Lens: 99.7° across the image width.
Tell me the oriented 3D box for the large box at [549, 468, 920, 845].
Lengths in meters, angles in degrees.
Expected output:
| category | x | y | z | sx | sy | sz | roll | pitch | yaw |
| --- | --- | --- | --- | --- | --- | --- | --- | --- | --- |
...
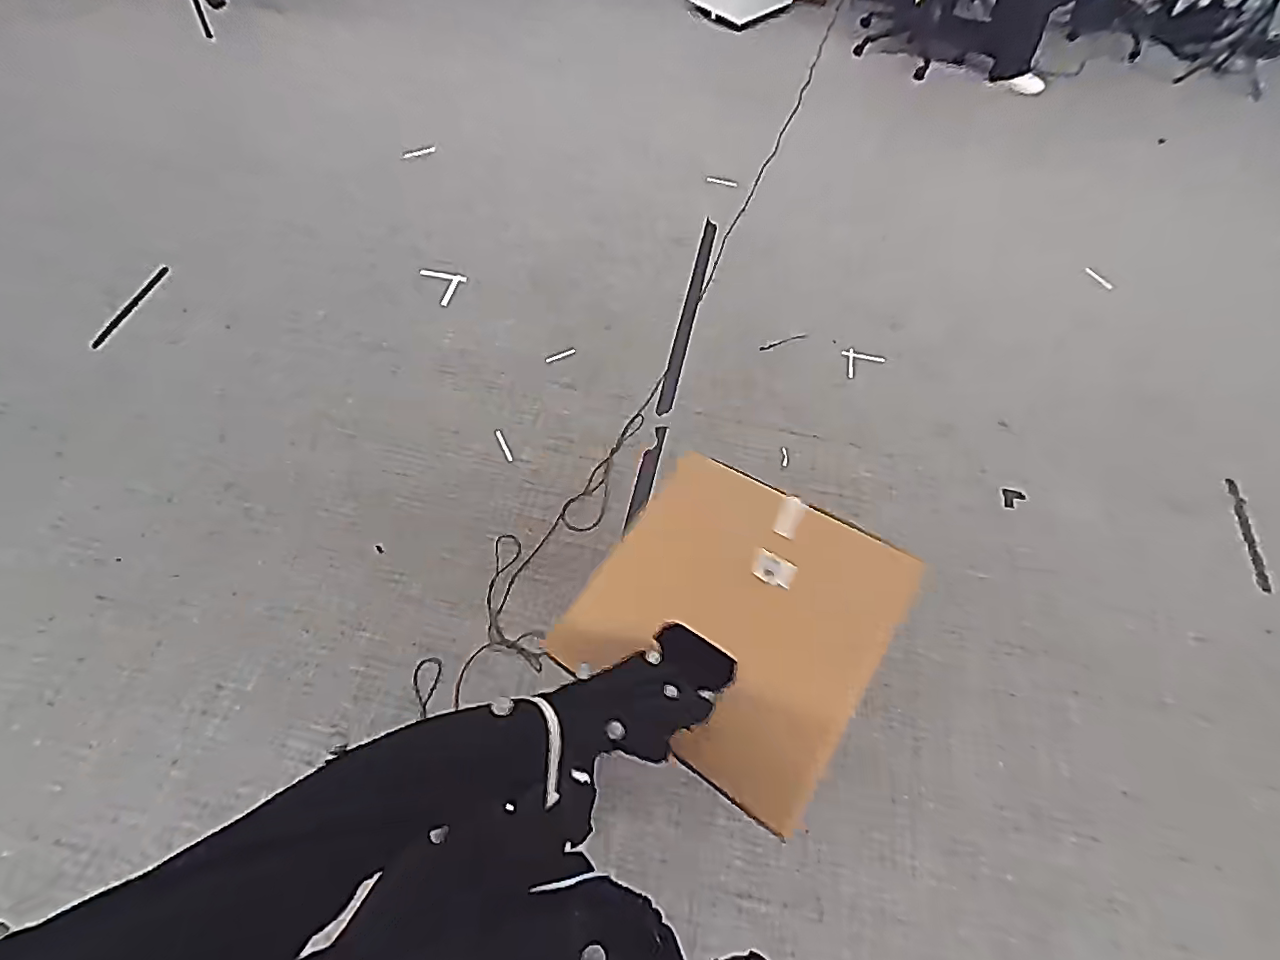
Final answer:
| category | x | y | z | sx | sy | sz | roll | pitch | yaw |
| --- | --- | --- | --- | --- | --- | --- | --- | --- | --- |
| large box | 0.142 | 0.253 | 0.761 | 0.320 | 0.408 | 0.320 | 31 | 71 | 28 |
